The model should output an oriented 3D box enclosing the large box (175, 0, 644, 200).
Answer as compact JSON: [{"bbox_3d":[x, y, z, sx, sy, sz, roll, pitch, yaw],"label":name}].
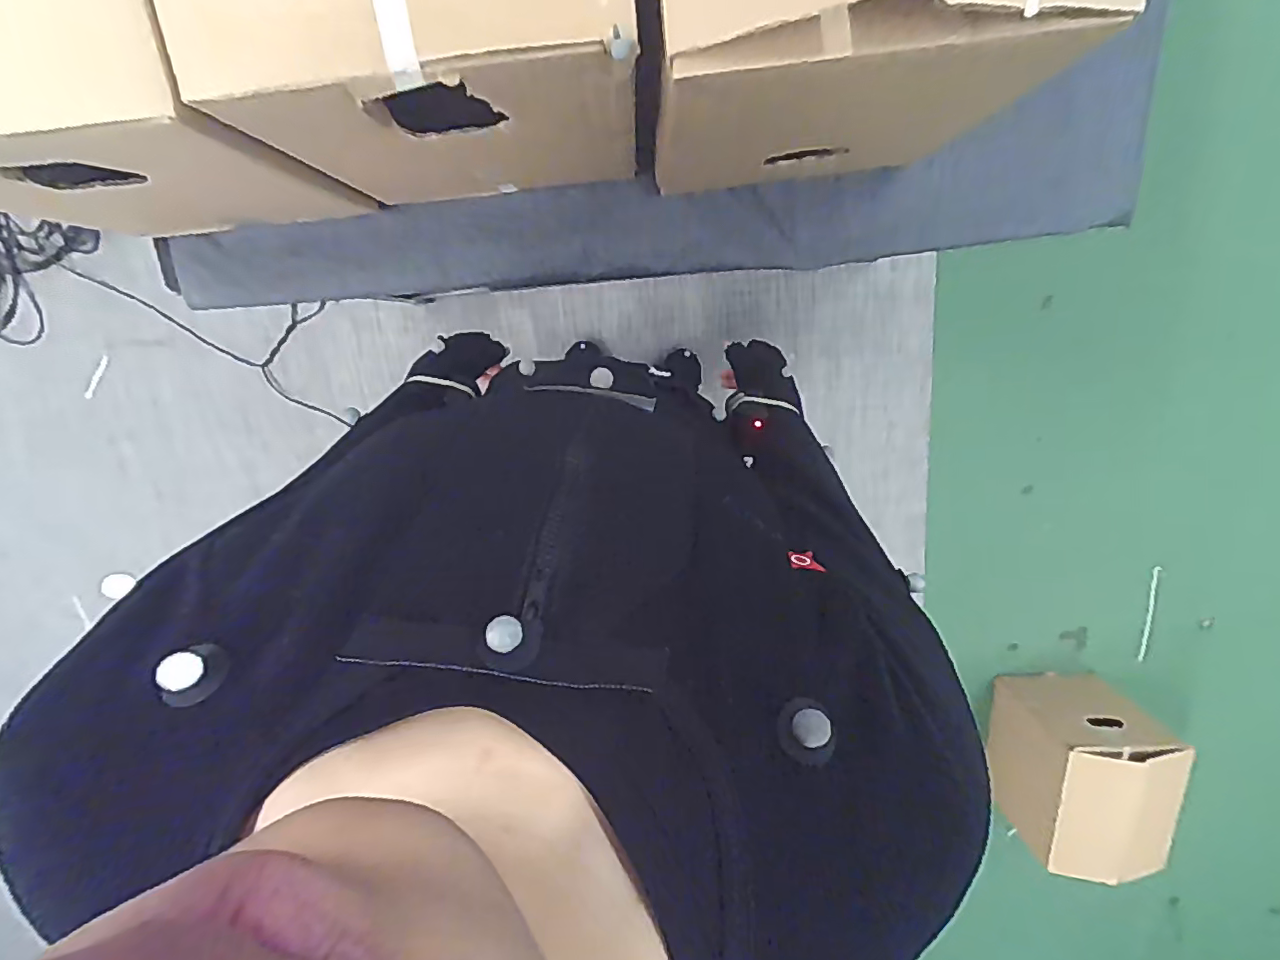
[{"bbox_3d":[-0.174,-0.505,0.457,0.320,0.320,0.408,-6,106,3],"label":"large box"}]
